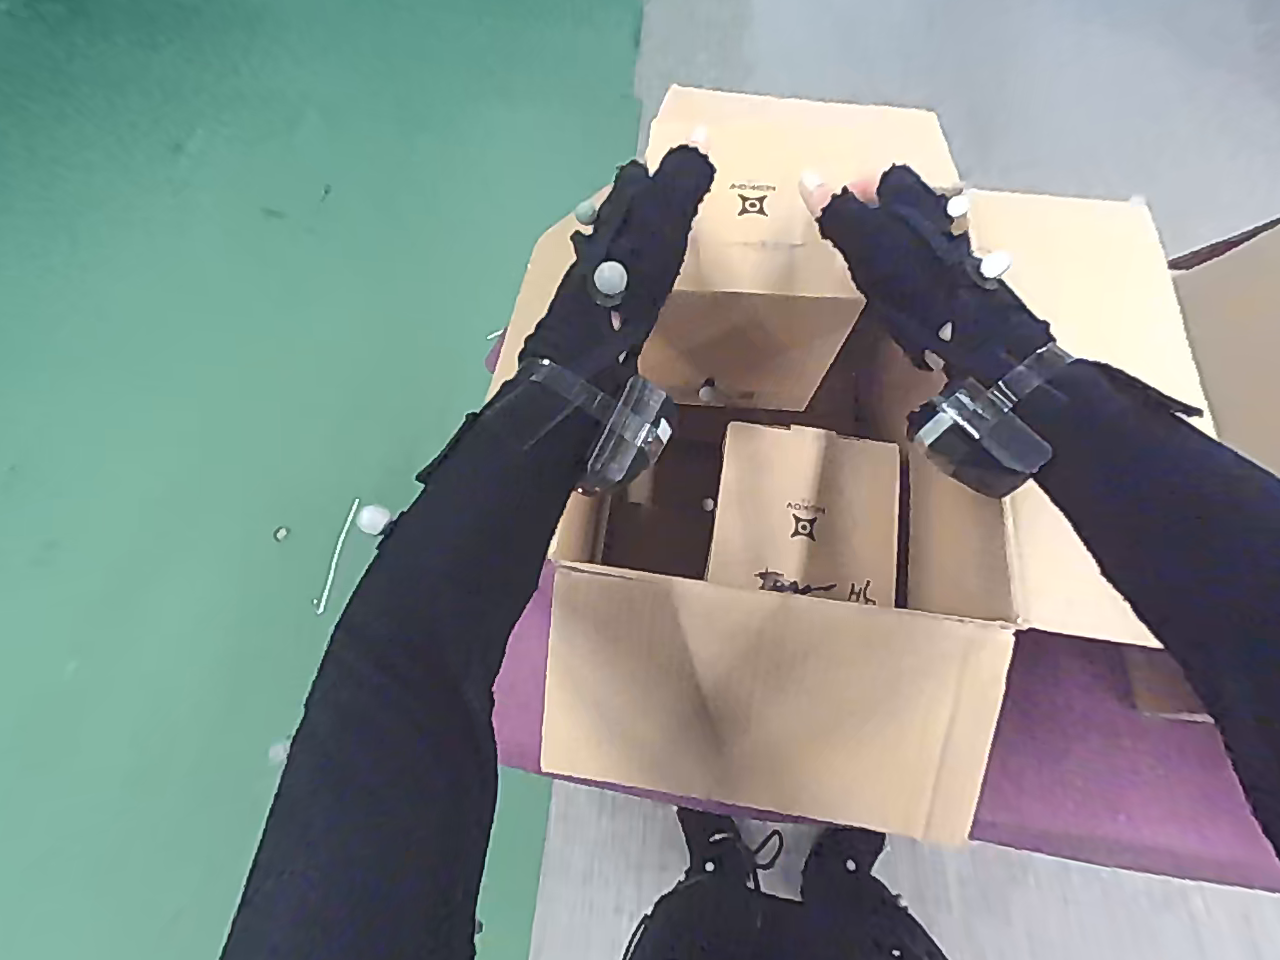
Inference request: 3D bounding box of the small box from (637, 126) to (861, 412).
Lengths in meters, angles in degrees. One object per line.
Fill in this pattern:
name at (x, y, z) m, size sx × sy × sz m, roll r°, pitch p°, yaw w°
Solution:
small box at (0.085, -0.183, 0.497) m, size 0.168 × 0.176 × 0.179 m, roll 3°, pitch 69°, yaw 2°
